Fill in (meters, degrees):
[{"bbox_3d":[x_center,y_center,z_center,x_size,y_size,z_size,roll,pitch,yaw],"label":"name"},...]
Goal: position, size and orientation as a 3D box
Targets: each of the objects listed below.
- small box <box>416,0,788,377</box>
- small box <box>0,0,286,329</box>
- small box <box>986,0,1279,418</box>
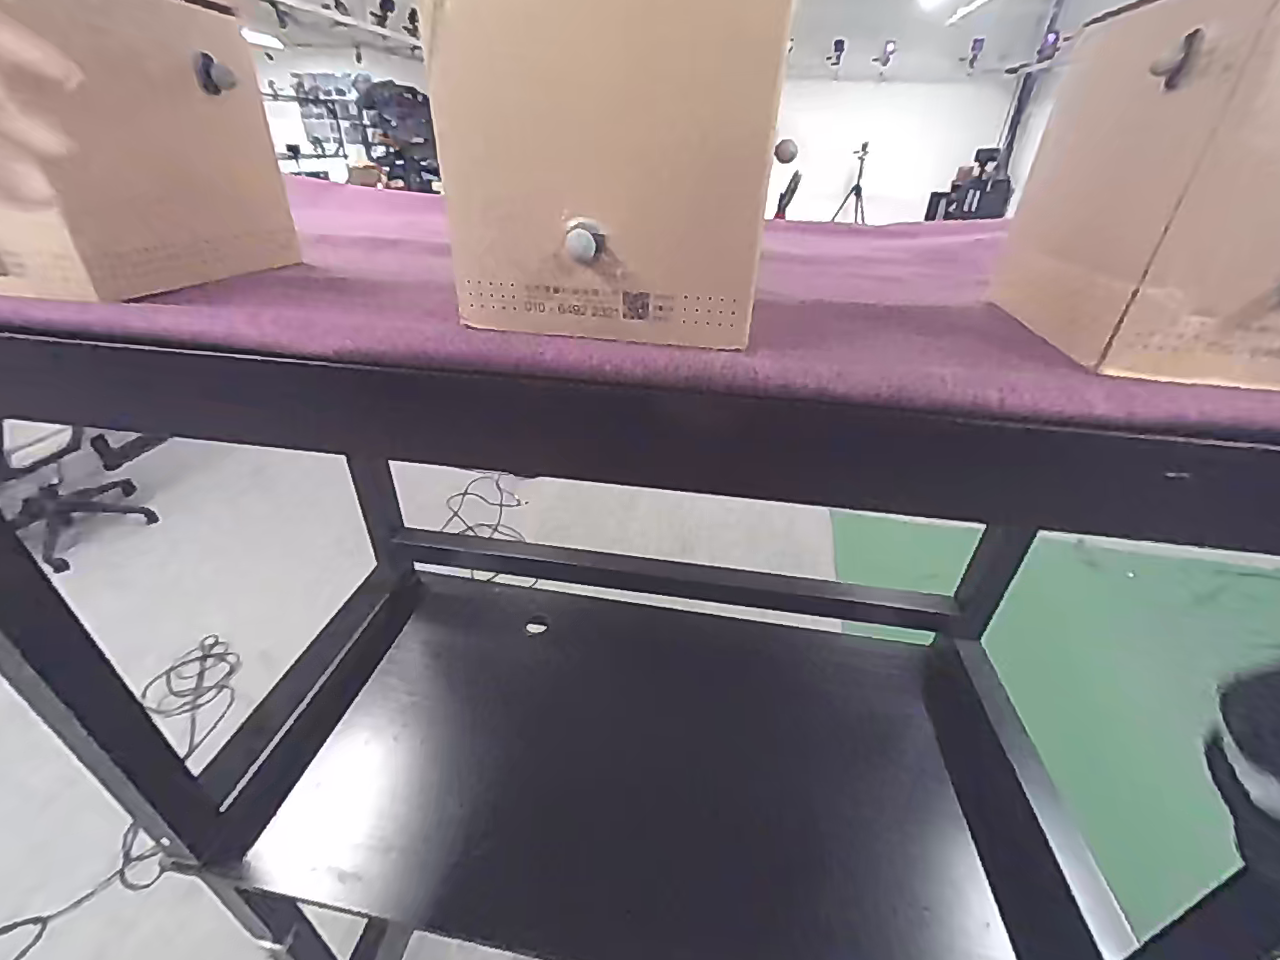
[{"bbox_3d":[-0.008,-0.179,0.335,0.168,0.176,0.179,7,34,8],"label":"small box"},{"bbox_3d":[-0.380,-0.213,0.366,0.168,0.176,0.179,6,32,7],"label":"small box"},{"bbox_3d":[0.326,-0.144,0.296,0.168,0.176,0.179,7,34,9],"label":"small box"}]
